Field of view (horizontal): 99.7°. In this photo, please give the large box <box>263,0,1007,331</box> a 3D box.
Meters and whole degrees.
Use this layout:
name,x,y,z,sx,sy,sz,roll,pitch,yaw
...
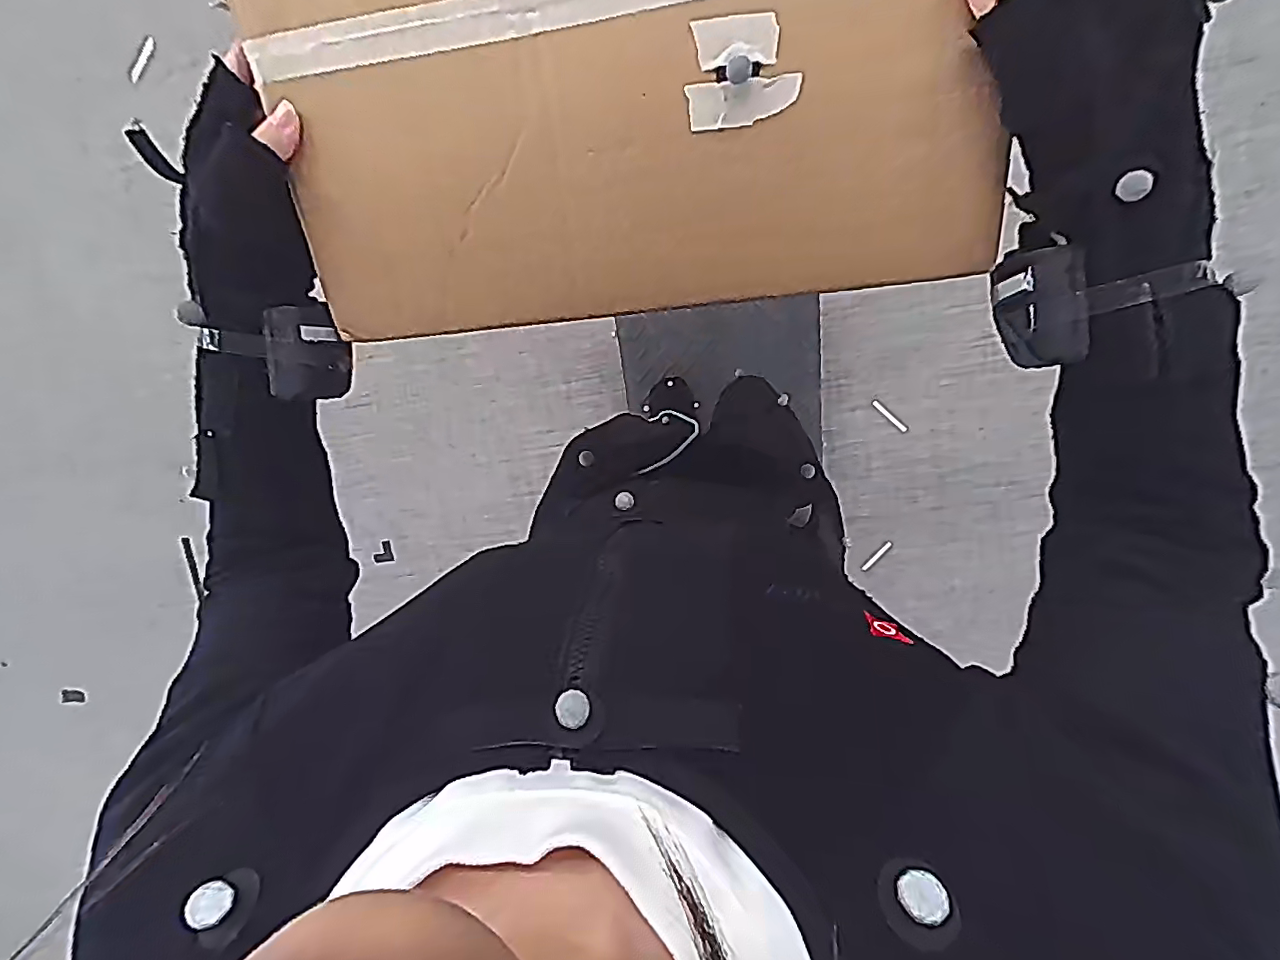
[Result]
name,x,y,z,sx,sy,sz,roll,pitch,yaw
large box,-0.001,-0.316,0.424,0.408,0.320,0.320,-4,113,8
